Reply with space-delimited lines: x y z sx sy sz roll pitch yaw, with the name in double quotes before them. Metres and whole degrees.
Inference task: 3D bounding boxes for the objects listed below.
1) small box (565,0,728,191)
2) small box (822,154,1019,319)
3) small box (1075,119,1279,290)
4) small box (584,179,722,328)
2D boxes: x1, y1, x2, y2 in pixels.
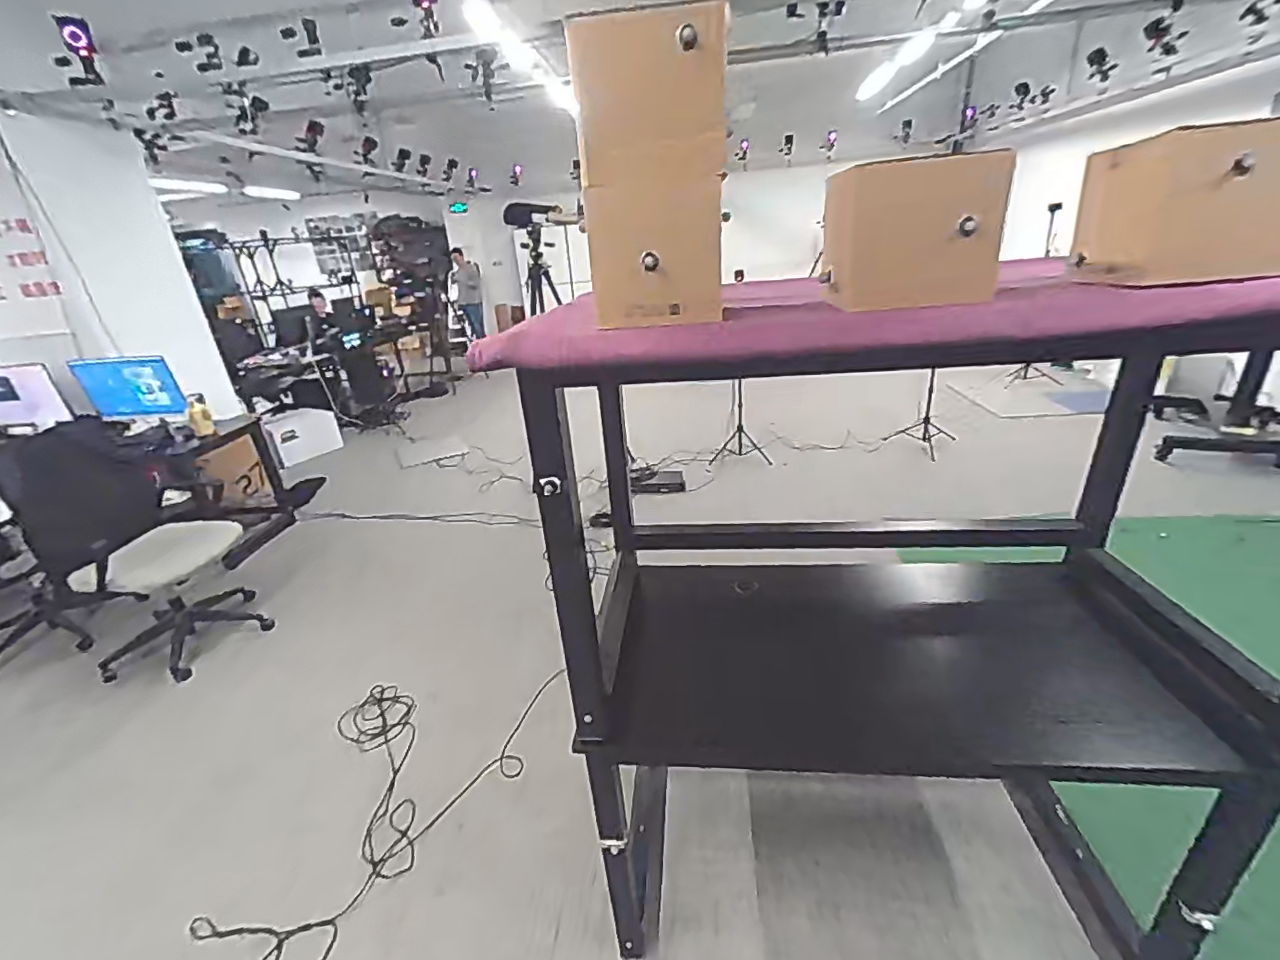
"small box" 0.017 -0.452 0.674 0.179 0.176 0.168 -1 25 5
"small box" 0.347 -0.313 0.708 0.179 0.176 0.168 -3 24 7
"small box" 0.694 -0.335 0.683 0.179 0.176 0.168 -1 22 9
"small box" 0.027 -0.305 0.742 0.168 0.176 0.179 -1 25 6
